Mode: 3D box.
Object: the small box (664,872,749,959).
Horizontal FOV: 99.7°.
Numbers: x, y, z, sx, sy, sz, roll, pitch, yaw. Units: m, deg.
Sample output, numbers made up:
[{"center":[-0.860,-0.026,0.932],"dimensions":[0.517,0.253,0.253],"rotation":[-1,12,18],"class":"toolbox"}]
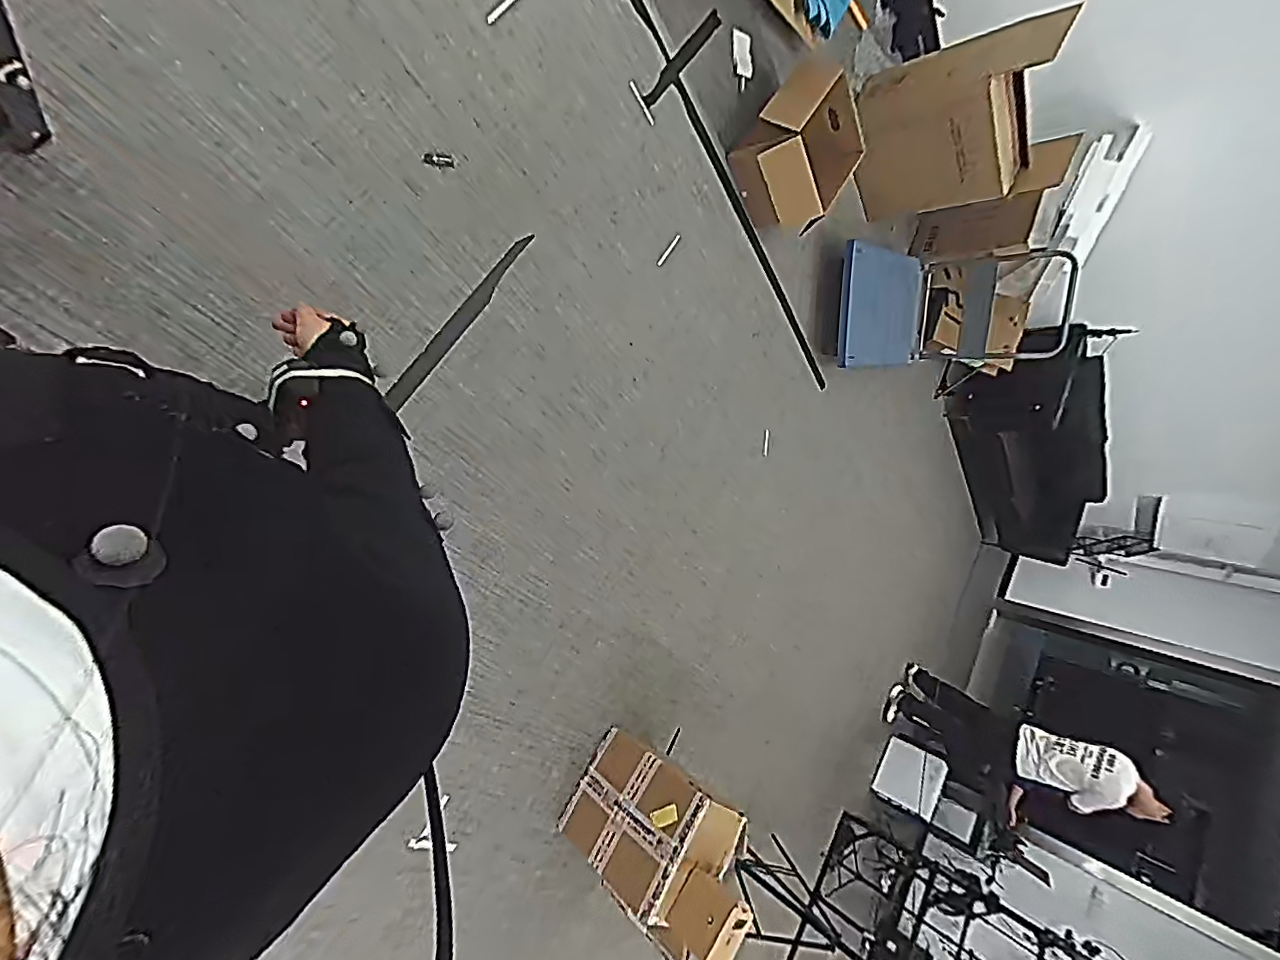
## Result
[{"center":[0.206,1.379,1.690],"dimensions":[0.179,0.176,0.168],"rotation":[-52,128,-19],"class":"small box"}]
